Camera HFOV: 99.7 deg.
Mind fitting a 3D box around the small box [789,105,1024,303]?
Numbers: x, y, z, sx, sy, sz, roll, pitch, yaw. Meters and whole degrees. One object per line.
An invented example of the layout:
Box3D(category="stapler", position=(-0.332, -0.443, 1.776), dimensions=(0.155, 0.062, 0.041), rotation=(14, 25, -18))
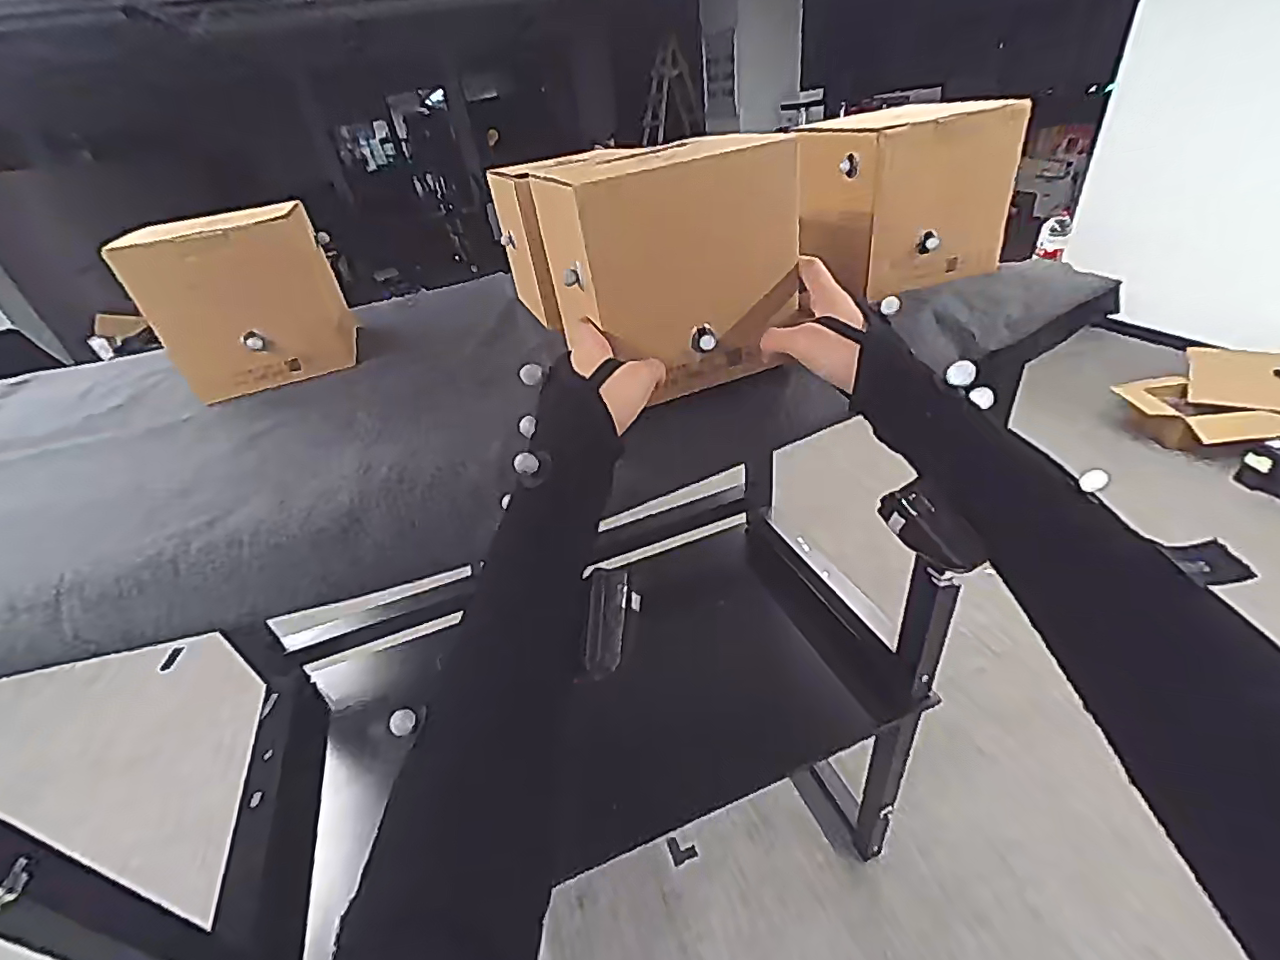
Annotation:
Box3D(category="small box", position=(0.283, -0.317, 0.624), dimensions=(0.168, 0.176, 0.179), rotation=(-16, 35, -8))

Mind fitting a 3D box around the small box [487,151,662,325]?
Box3D(category="small box", position=(-0.082, -0.313, 0.701), dimensions=(0.168, 0.176, 0.179), rotation=(-19, 35, -15))

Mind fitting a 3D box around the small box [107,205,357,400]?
Box3D(category="small box", position=(-0.458, -0.216, 0.646), dimensions=(0.168, 0.176, 0.179), rotation=(-20, 37, -15))
